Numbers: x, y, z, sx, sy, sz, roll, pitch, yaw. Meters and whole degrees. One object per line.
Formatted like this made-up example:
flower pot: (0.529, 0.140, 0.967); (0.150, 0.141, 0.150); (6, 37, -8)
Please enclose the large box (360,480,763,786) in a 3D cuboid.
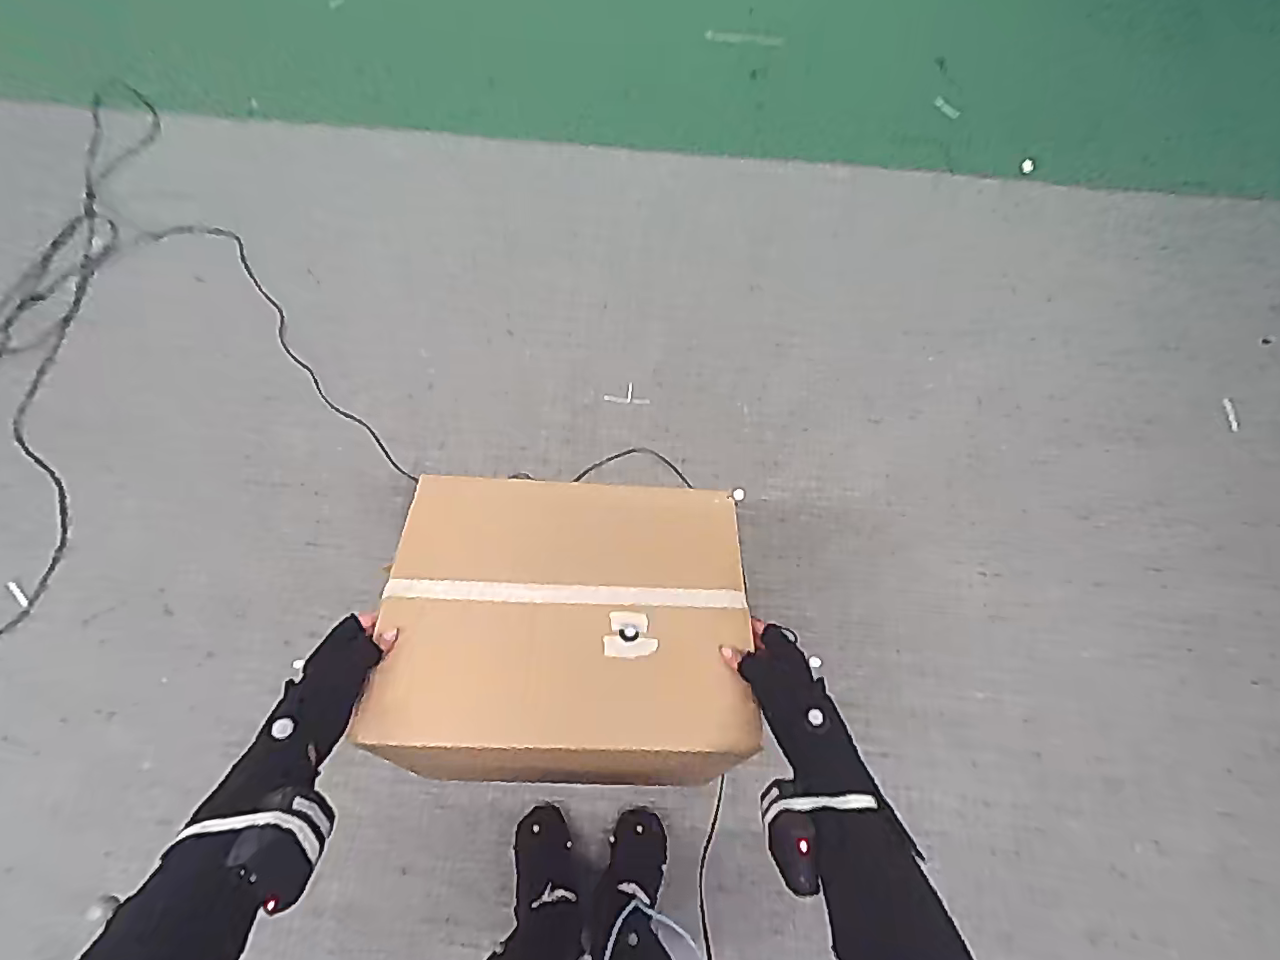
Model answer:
large box: (-0.089, 0.219, 0.734); (0.408, 0.320, 0.320); (4, 55, -5)
